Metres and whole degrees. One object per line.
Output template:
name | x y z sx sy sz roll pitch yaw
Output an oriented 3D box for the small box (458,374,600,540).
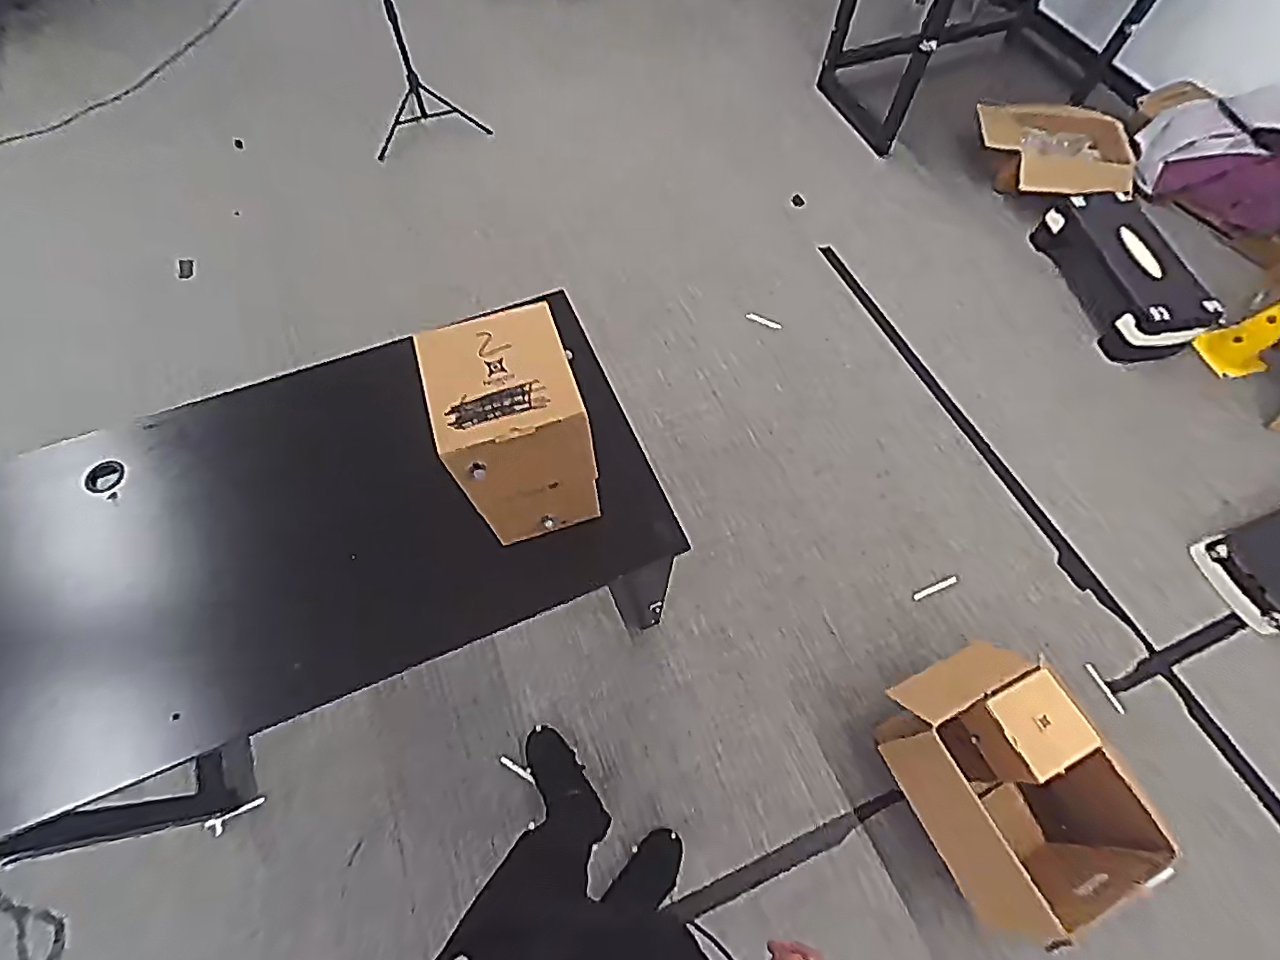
small box | -0.165 -0.030 0.838 0.168 0.176 0.179 -17 66 -8
